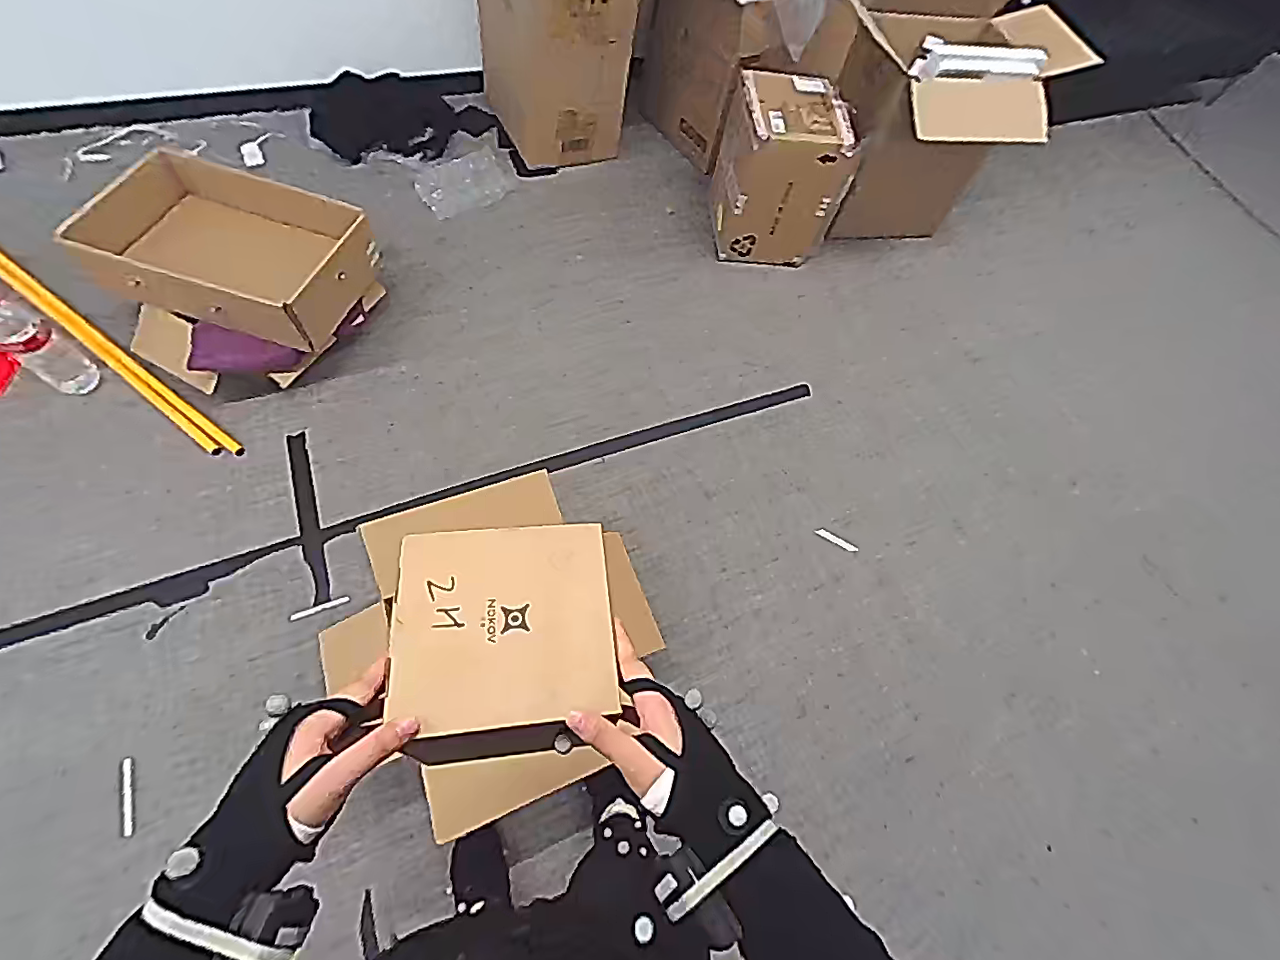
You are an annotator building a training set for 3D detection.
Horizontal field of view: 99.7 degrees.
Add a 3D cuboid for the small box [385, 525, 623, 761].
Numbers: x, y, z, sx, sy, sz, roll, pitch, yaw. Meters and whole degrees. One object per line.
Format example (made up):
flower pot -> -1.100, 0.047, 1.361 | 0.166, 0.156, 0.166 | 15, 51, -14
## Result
small box -> -0.118, 0.157, 0.509 | 0.179, 0.176, 0.168 | -4, 58, -10
